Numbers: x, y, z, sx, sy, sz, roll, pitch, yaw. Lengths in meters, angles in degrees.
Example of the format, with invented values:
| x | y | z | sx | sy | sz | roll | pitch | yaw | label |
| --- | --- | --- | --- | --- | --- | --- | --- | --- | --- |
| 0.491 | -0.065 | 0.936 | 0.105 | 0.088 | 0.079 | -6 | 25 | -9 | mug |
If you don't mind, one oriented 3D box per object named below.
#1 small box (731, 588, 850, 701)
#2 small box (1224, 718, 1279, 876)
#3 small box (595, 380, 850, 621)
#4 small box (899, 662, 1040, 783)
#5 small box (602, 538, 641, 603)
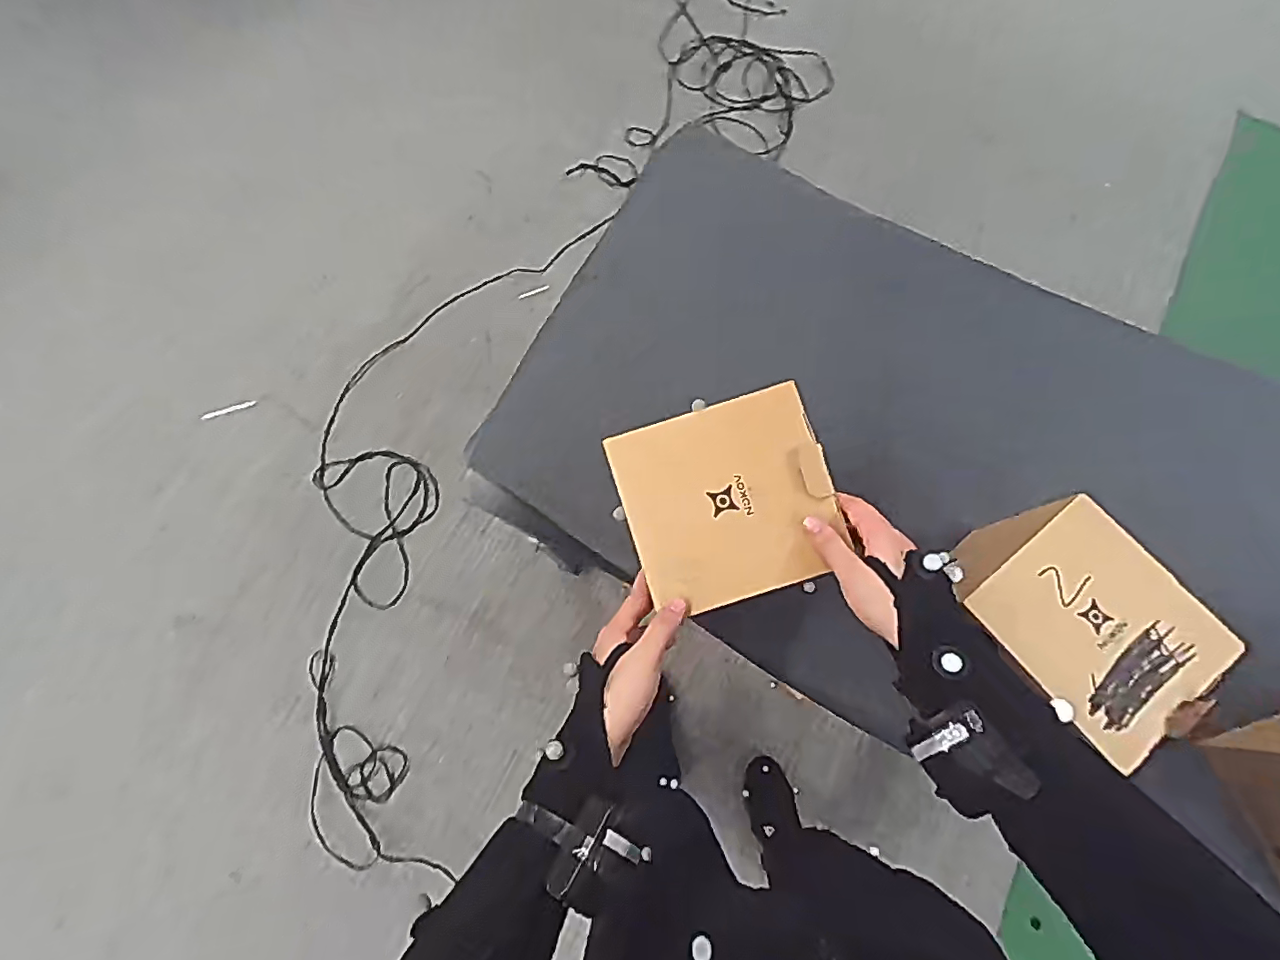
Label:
| x | y | z | sx | sy | sz | roll | pitch | yaw | label |
| --- | --- | --- | --- | --- | --- | --- | --- | --- | --- |
| 0.331 | 0.367 | 1.224 | 0.168 | 0.176 | 0.179 | -41 | 76 | -12 | small box |
| 0.697 | 0.306 | 0.478 | 0.179 | 0.176 | 0.168 | -15 | 71 | -5 | small box |
| 0.070 | 0.027 | 0.527 | 0.179 | 0.176 | 0.168 | -18 | 82 | 0 | small box |
| 0.707 | 0.517 | 1.180 | 0.179 | 0.176 | 0.168 | 32 | 76 | 8 | small box |
| 0.031 | 0.200 | 1.273 | 0.179 | 0.176 | 0.168 | 38 | 77 | 11 | small box |
